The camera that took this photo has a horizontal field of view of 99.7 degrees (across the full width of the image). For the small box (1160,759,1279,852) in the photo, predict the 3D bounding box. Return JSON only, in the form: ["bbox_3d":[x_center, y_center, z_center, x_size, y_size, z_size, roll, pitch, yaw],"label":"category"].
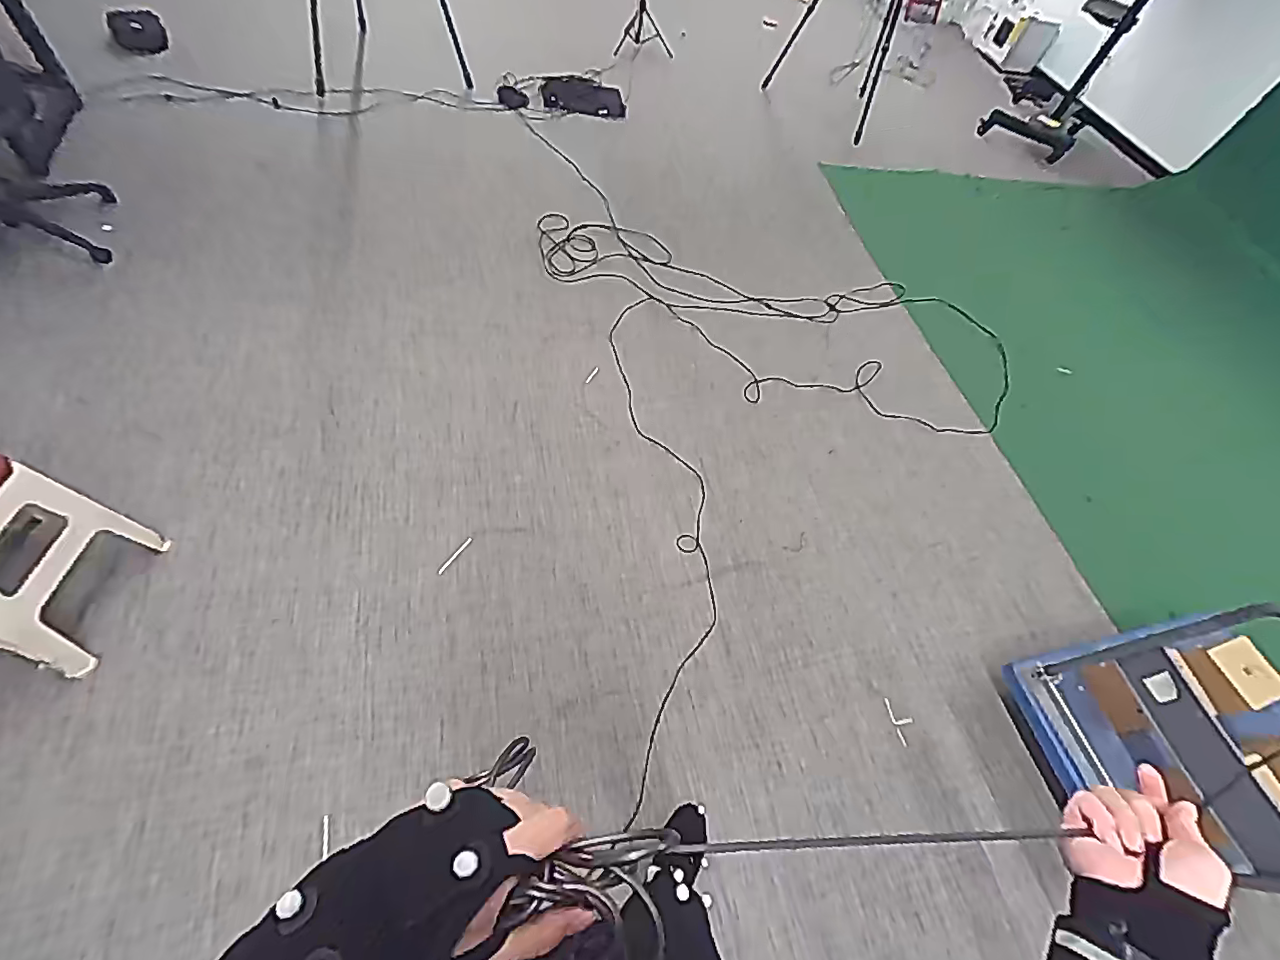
[{"bbox_3d":[1.483,0.808,1.350,0.179,0.176,0.168,-6,59,-13],"label":"small box"}]

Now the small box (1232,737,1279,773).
[{"bbox_3d":[1.743,0.777,1.417,0.179,0.176,0.168,-11,59,-15],"label":"small box"}]

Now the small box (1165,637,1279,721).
[{"bbox_3d":[1.669,0.569,1.538,0.179,0.176,0.168,-10,61,-16],"label":"small box"}]
